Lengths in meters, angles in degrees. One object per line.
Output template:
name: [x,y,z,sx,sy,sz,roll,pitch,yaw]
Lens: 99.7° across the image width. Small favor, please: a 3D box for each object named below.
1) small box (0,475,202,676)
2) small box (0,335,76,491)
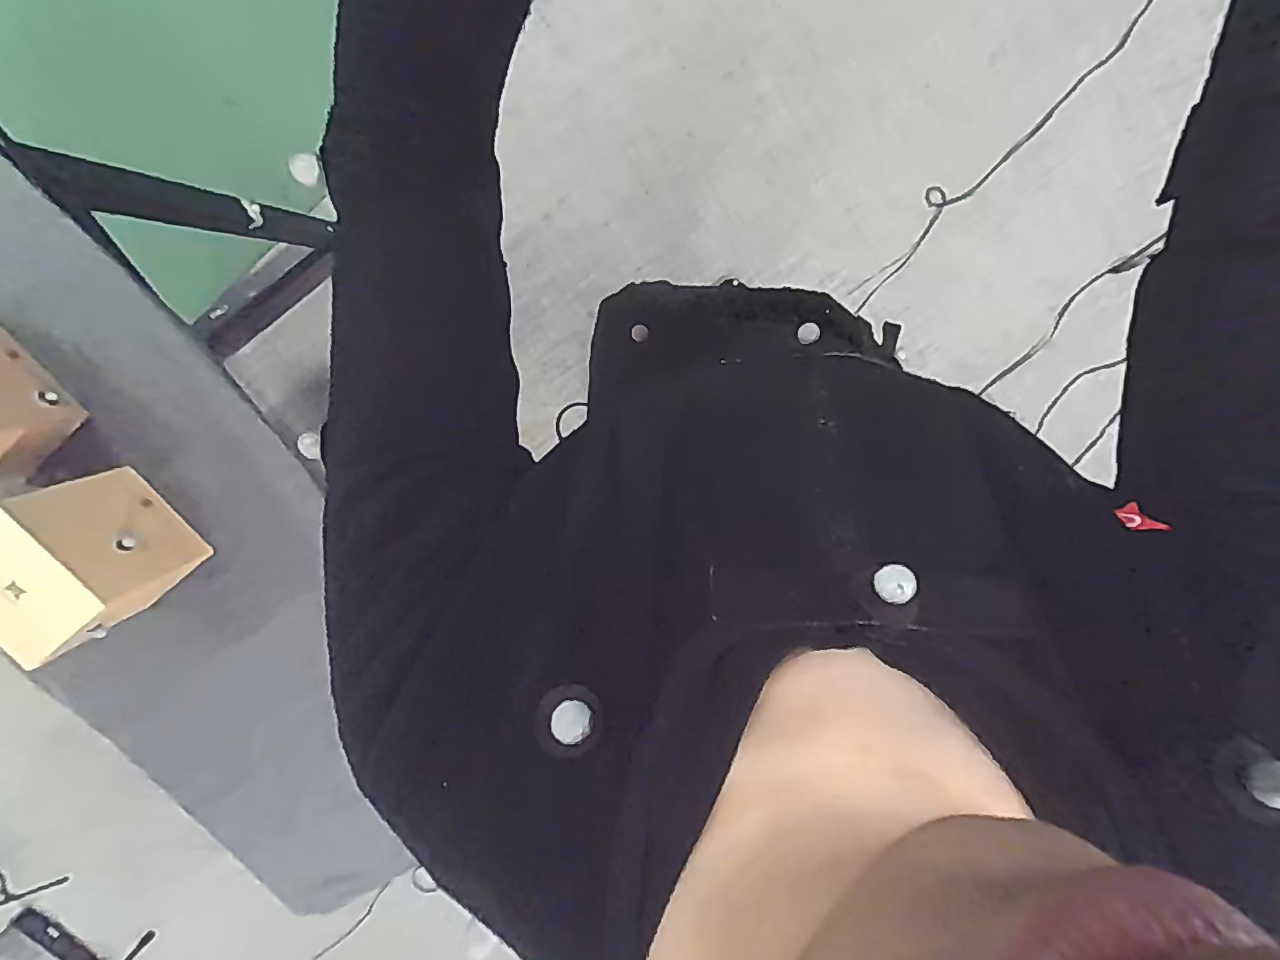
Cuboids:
small box: [-0.752,0.118,0.729,0.179,0.176,0.168,-34,102,14]
small box: [-0.886,-0.076,0.676,0.179,0.176,0.168,-34,102,14]
